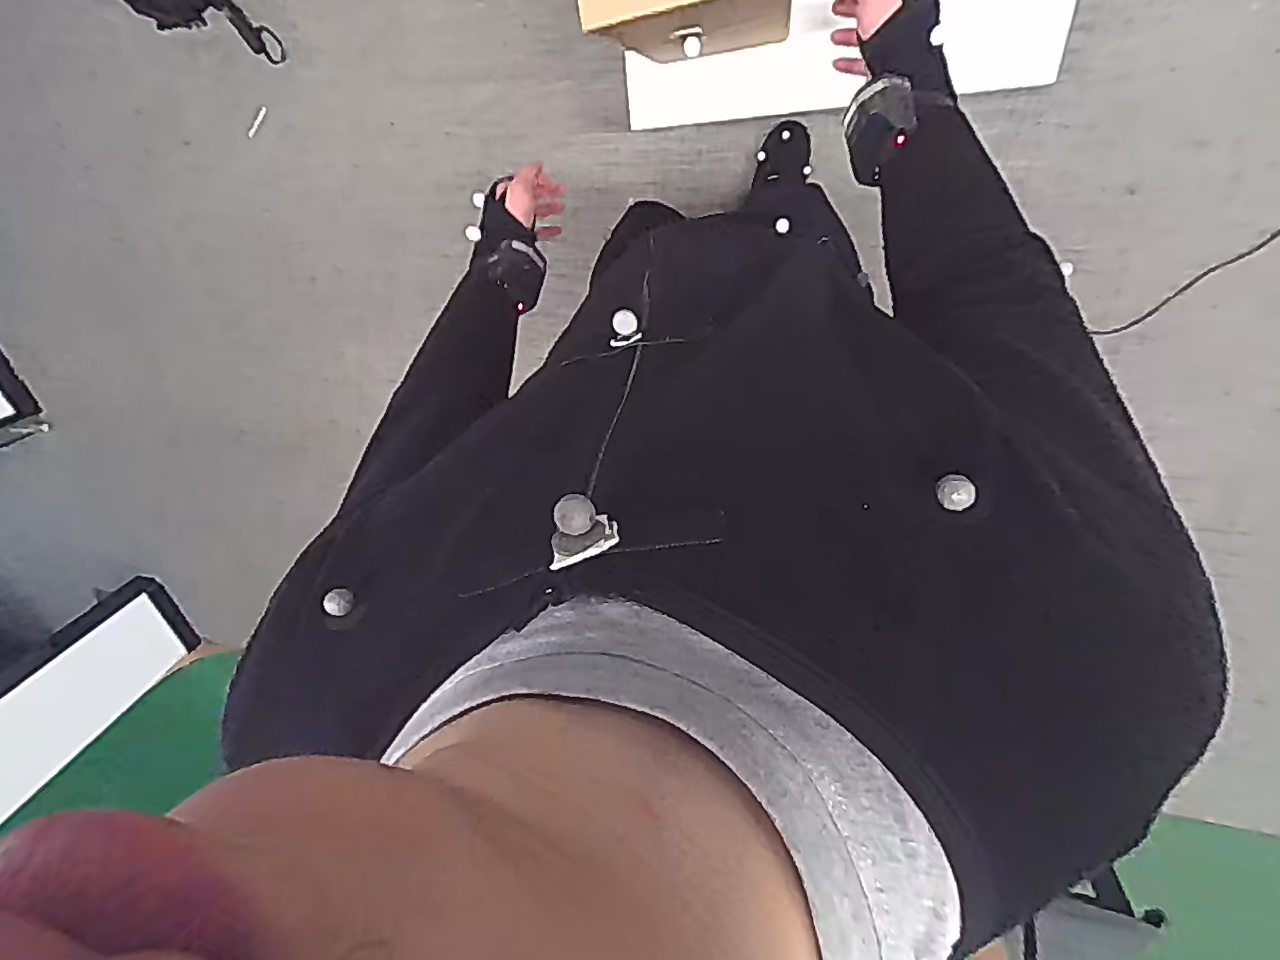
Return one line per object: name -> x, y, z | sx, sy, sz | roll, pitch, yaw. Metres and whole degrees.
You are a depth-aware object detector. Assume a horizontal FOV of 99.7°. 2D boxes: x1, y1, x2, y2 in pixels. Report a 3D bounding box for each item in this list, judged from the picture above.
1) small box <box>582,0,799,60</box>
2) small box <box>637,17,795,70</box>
small box -> 0.042, -0.470, 0.435 | 0.168, 0.176, 0.179 | 0, 122, 17
small box -> 0.079, -0.558, 0.568 | 0.168, 0.176, 0.179 | 1, 123, 15
